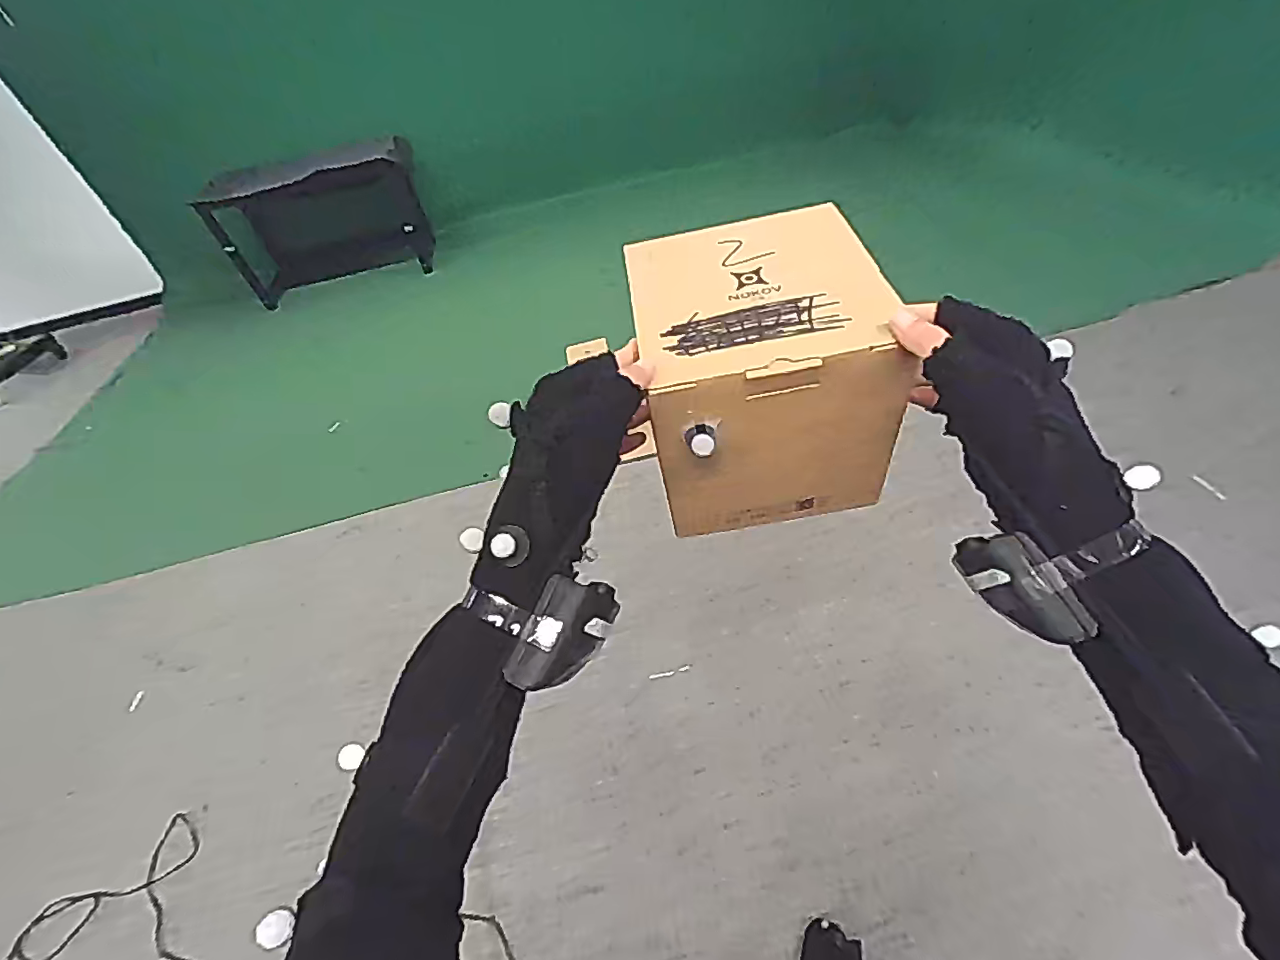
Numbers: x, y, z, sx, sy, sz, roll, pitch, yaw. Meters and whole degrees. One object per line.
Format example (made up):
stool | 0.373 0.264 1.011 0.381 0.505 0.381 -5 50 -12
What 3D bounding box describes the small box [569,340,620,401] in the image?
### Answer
small box | -0.181 -0.436 2.186 0.168 0.176 0.179 -14 44 1
